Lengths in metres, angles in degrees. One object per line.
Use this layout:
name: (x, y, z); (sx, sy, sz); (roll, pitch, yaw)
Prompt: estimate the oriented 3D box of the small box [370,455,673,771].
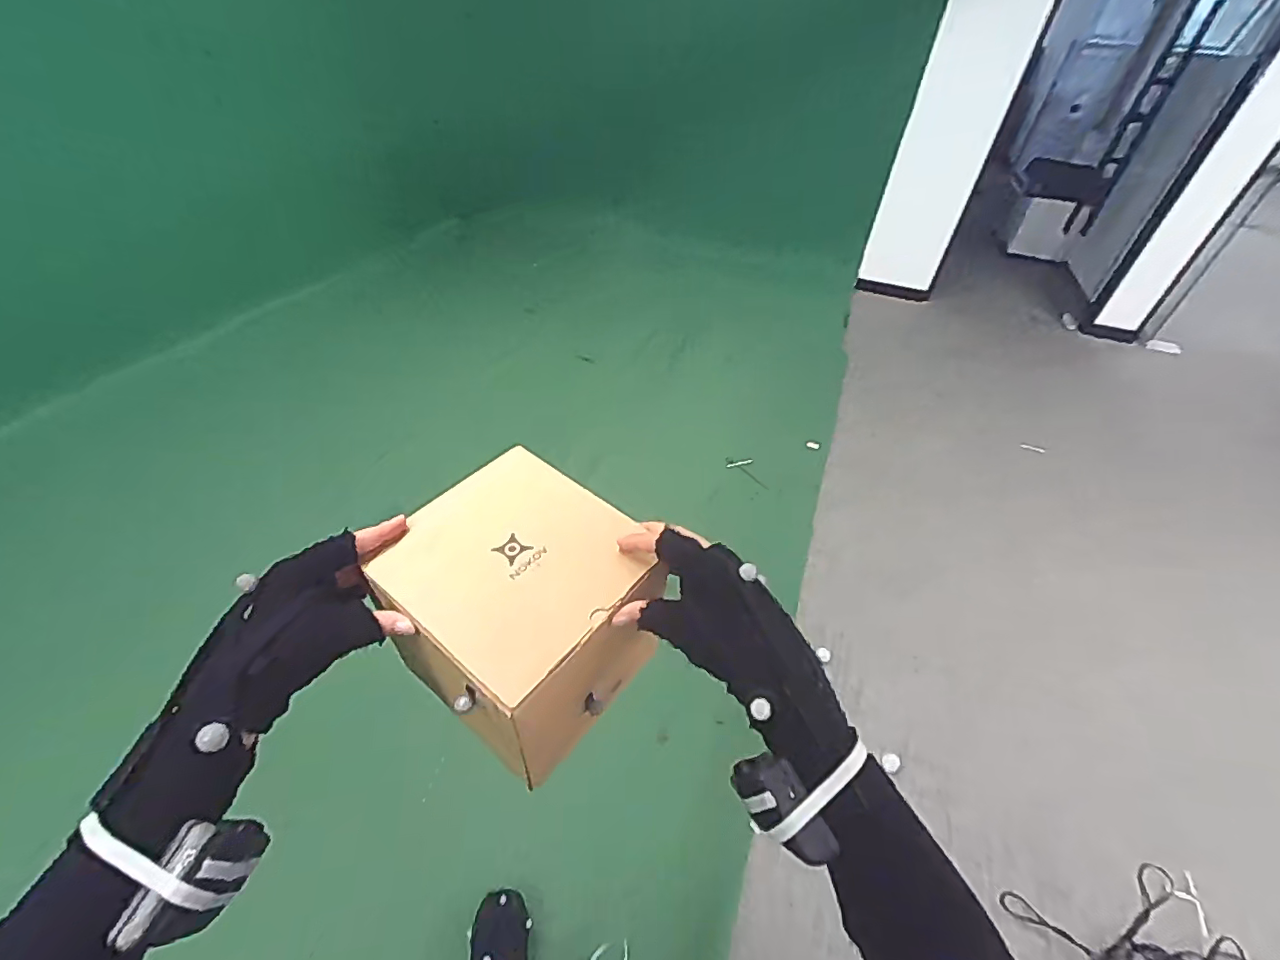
small box: (-0.096, 0.115, 0.475); (0.179, 0.176, 0.168); (33, 51, 23)
